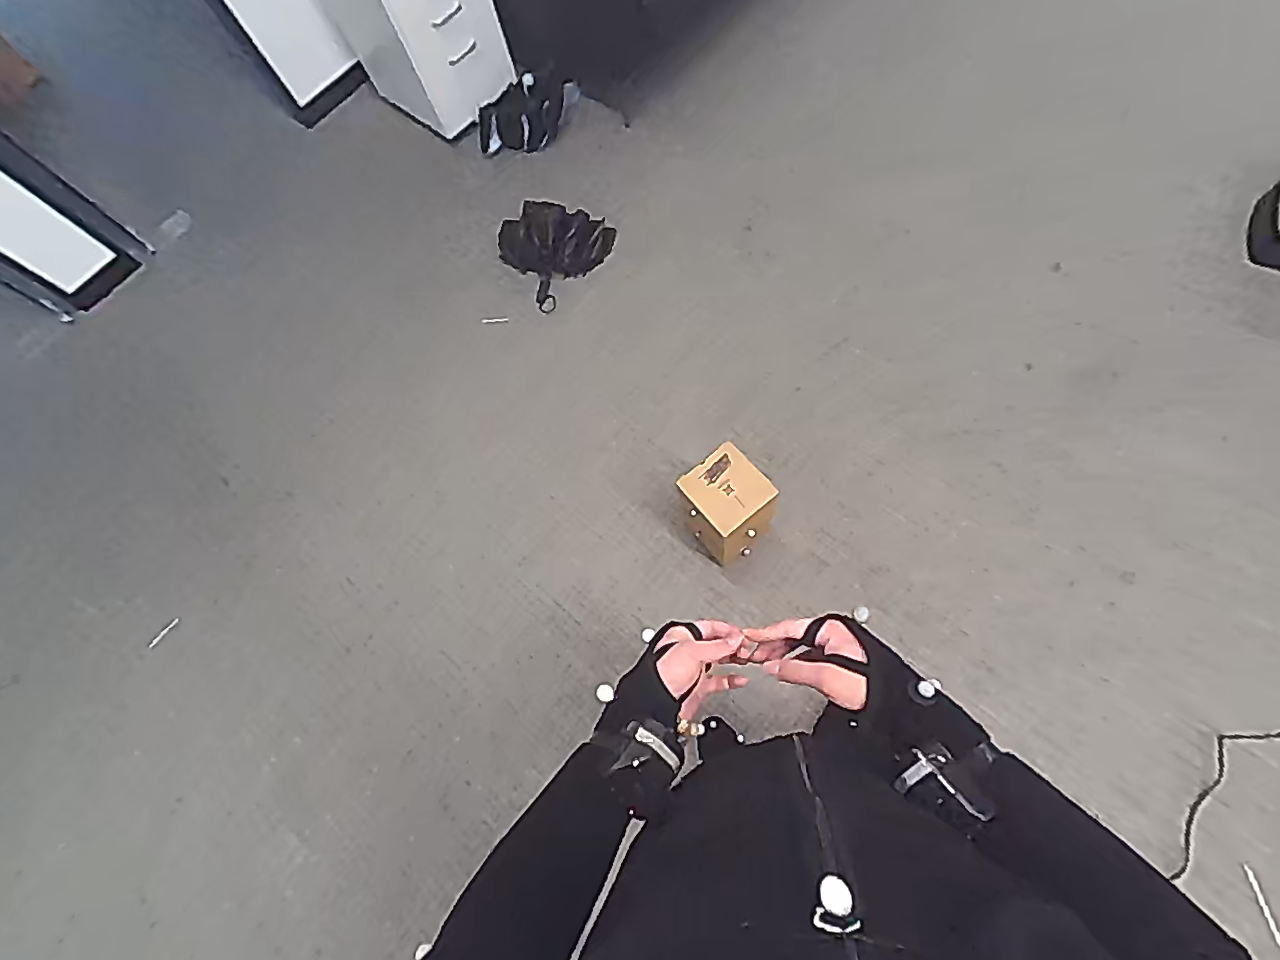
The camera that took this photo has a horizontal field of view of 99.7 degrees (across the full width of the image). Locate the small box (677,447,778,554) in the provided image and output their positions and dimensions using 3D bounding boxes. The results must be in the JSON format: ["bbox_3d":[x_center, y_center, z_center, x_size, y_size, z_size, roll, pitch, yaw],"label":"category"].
[{"bbox_3d":[0.208,0.057,1.314,0.168,0.176,0.179,-37,70,-6],"label":"small box"}]

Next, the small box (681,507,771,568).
[{"bbox_3d":[0.228,0.115,1.466,0.168,0.176,0.179,-39,70,-7],"label":"small box"}]
